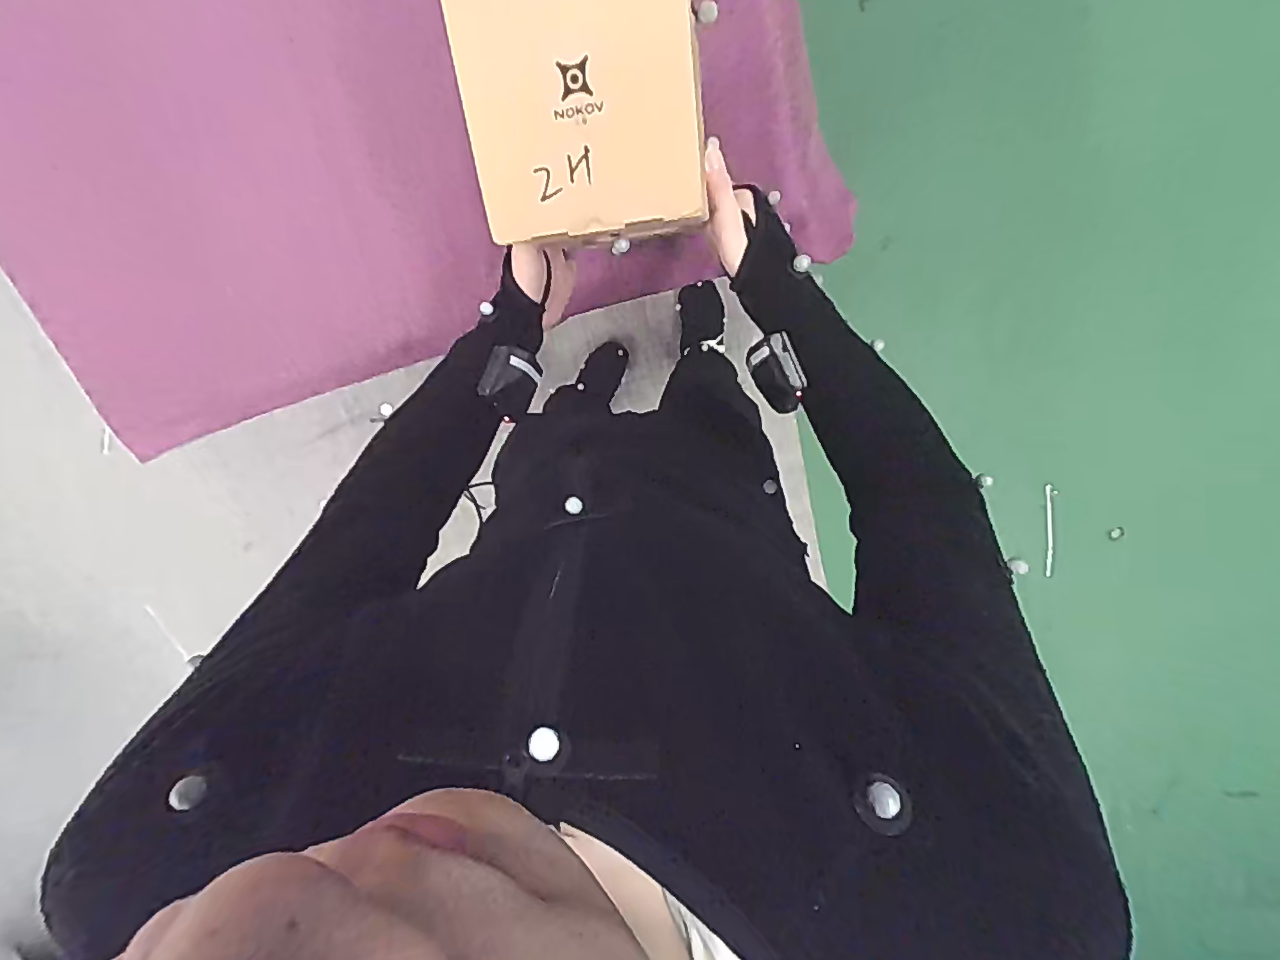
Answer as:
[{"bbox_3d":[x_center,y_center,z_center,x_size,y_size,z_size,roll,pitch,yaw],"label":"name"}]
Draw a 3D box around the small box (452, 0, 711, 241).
[{"bbox_3d":[-0.029,-0.299,0.442,0.168,0.176,0.179,-3,113,10],"label":"small box"}]
